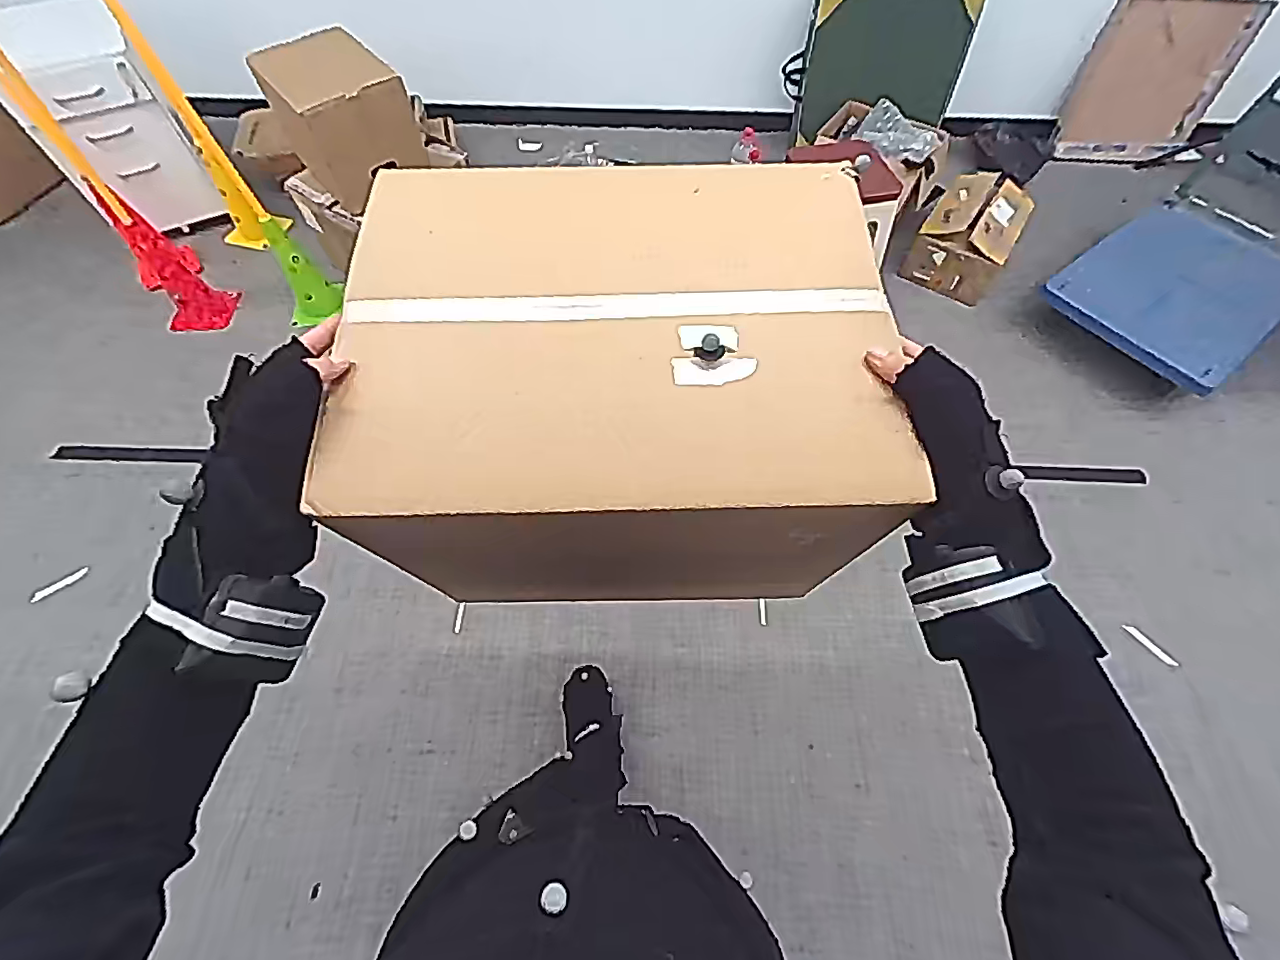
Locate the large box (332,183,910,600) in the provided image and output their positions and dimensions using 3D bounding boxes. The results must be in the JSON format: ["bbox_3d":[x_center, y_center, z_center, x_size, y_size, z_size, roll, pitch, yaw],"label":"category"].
[{"bbox_3d":[-0.017,-0.064,0.561,0.408,0.320,0.320,-1,67,-1],"label":"large box"}]
